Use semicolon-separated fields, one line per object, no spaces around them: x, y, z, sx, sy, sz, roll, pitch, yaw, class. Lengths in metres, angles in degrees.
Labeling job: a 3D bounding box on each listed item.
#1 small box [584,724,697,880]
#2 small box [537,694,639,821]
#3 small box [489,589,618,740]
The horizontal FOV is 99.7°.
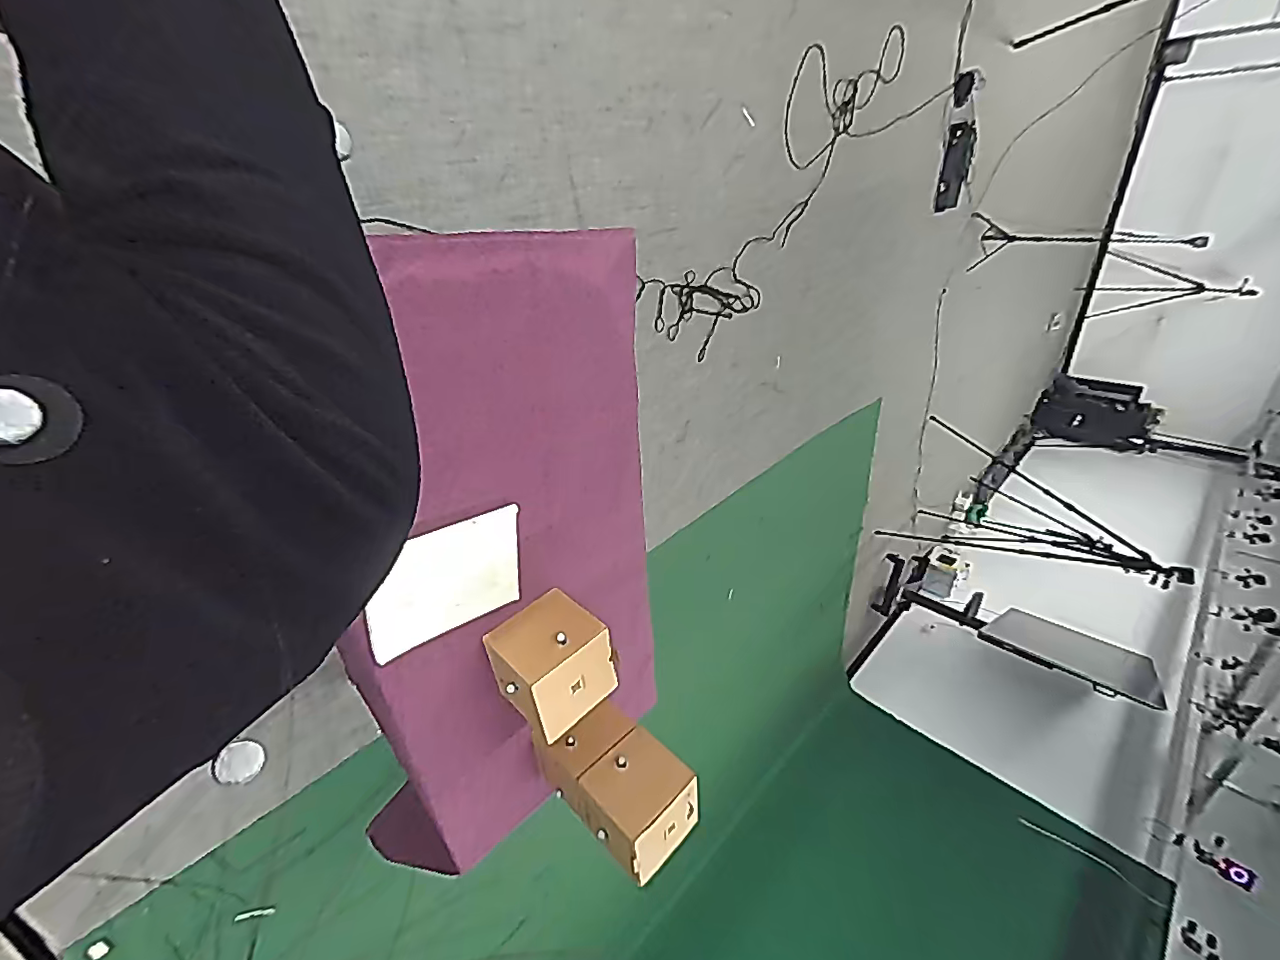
-0.002;0.649;1.108;0.179;0.176;0.168;-28;127;-35;small box
-0.116;0.604;1.218;0.179;0.176;0.168;-28;127;-36;small box
-0.170;0.344;1.037;0.179;0.176;0.168;-32;129;-35;small box
